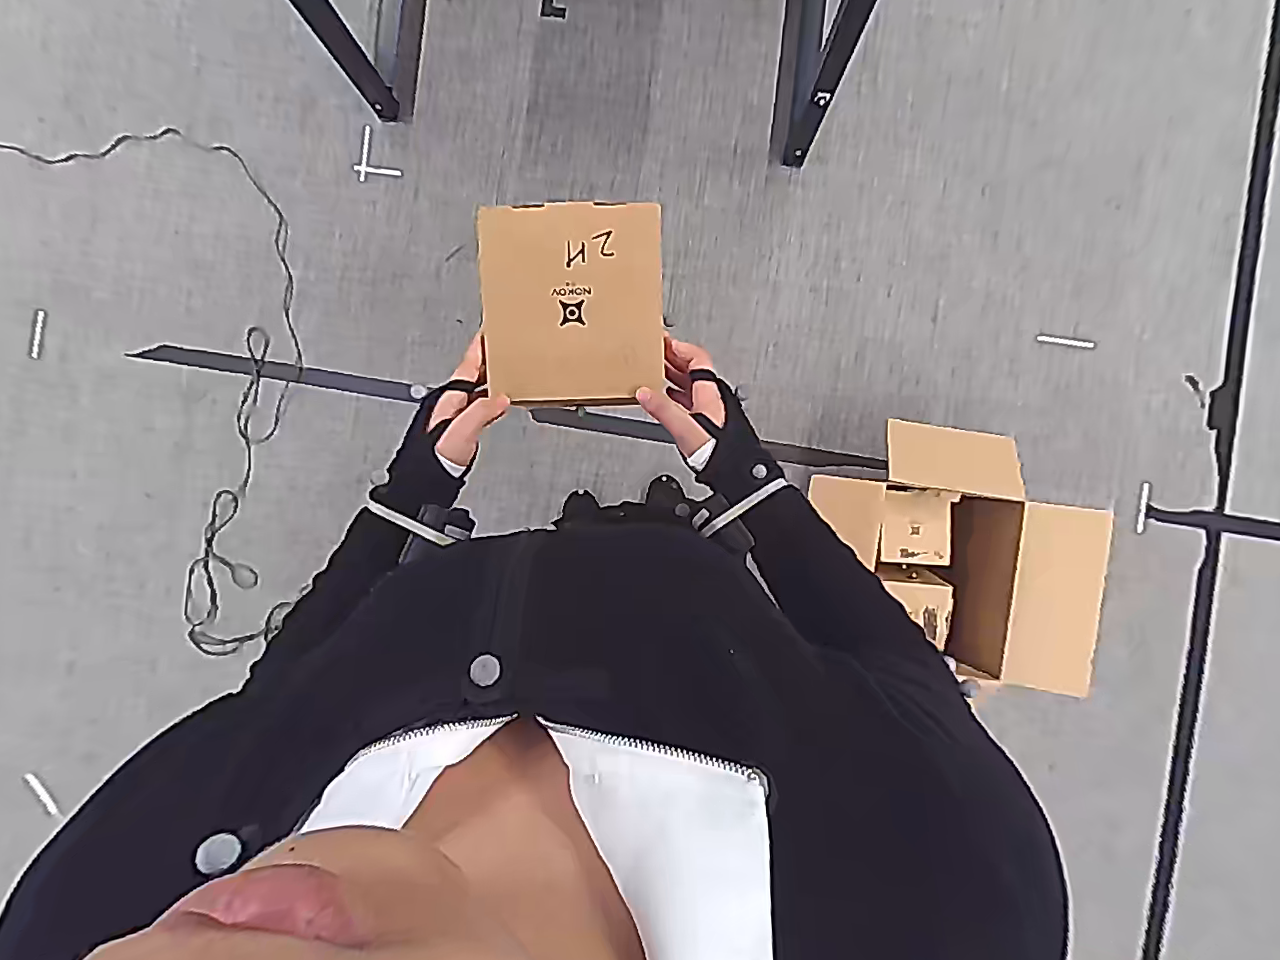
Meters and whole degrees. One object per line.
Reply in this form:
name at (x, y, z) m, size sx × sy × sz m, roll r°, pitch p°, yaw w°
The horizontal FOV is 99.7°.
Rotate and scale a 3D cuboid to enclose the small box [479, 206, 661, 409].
small box at (-0.062, -0.165, 0.571) m, size 0.168 × 0.176 × 0.179 m, roll -2°, pitch 95°, yaw -1°
